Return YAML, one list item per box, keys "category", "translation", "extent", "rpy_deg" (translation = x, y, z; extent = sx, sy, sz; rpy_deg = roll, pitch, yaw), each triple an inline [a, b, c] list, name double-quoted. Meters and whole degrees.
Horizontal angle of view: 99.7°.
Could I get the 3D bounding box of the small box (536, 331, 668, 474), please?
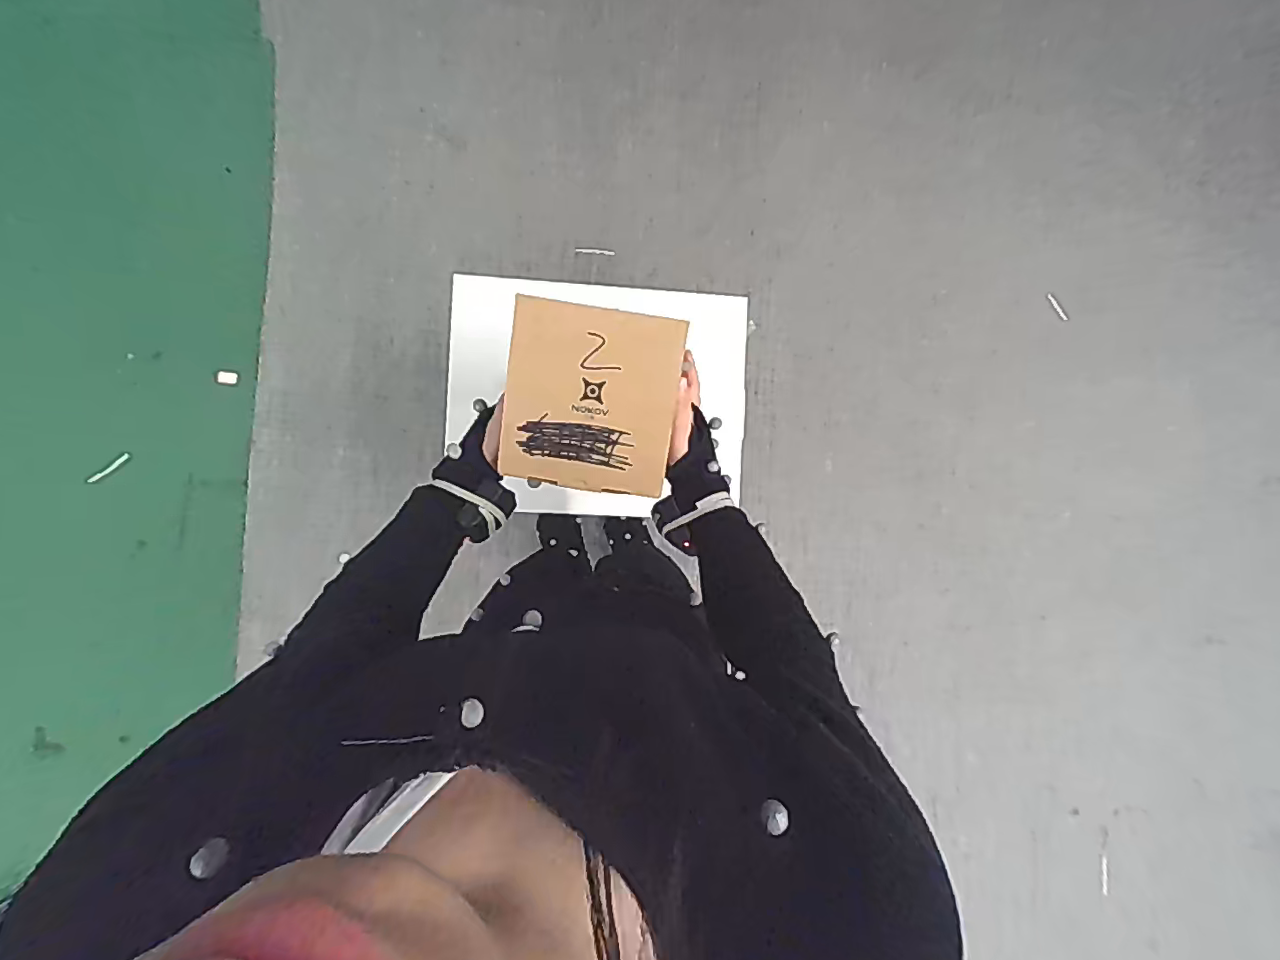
- category: "small box"
  translation: [-0.060, -0.108, 0.835]
  extent: [0.168, 0.176, 0.179]
  rpy_deg: [9, 89, -5]
